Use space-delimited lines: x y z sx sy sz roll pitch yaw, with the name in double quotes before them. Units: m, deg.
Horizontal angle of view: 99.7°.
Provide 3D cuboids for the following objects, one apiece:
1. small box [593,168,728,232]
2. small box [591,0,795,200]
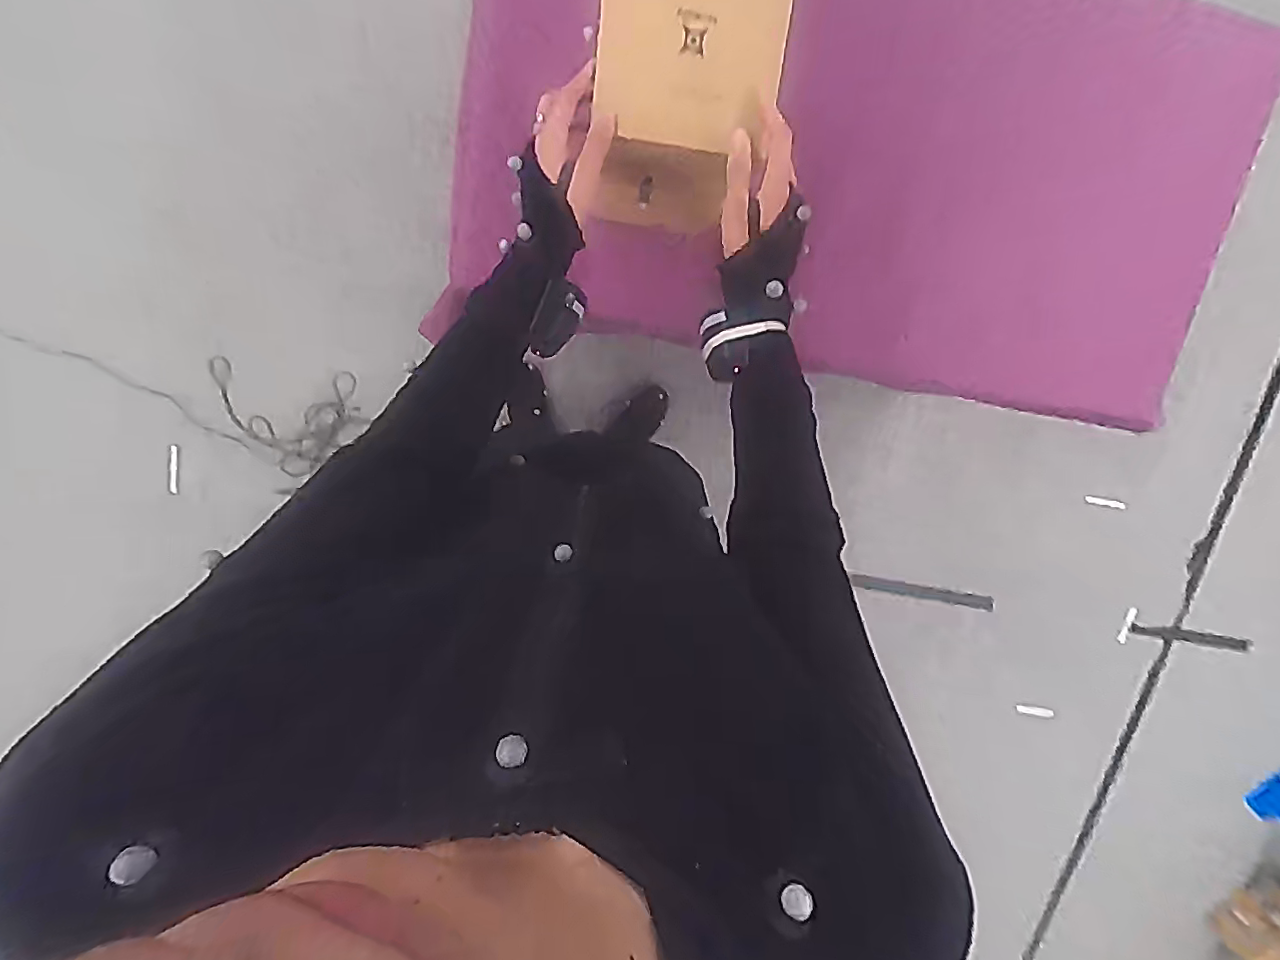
"small box" 0.031 -0.444 0.703 0.168 0.176 0.179 8 103 -7
"small box" 0.041 -0.406 0.544 0.168 0.176 0.179 6 105 -7
